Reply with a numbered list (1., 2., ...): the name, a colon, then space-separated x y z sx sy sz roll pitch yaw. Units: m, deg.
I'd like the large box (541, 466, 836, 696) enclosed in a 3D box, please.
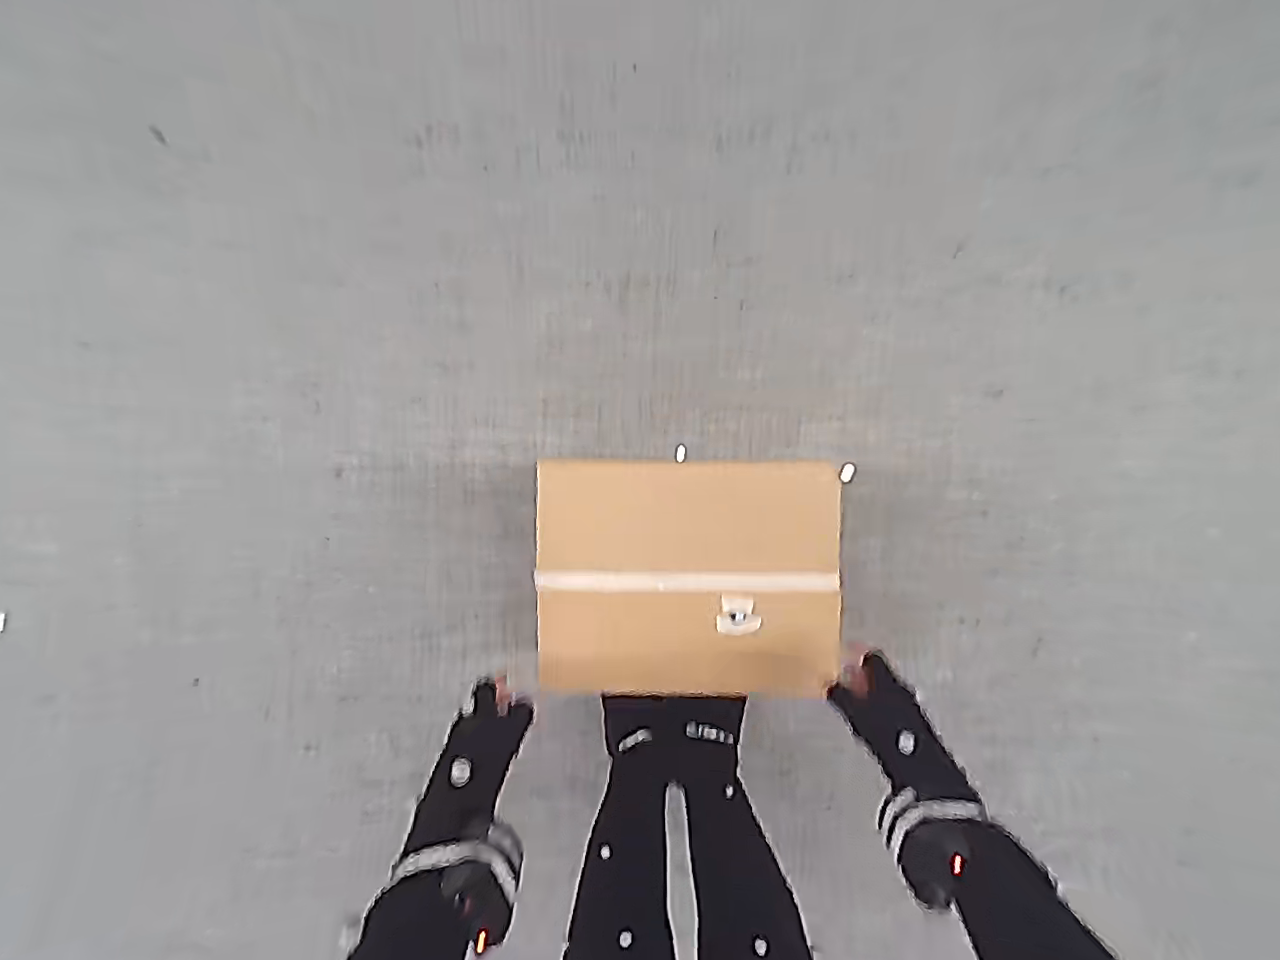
1. large box: 0.065 0.135 0.880 0.408 0.320 0.320 0 92 0
